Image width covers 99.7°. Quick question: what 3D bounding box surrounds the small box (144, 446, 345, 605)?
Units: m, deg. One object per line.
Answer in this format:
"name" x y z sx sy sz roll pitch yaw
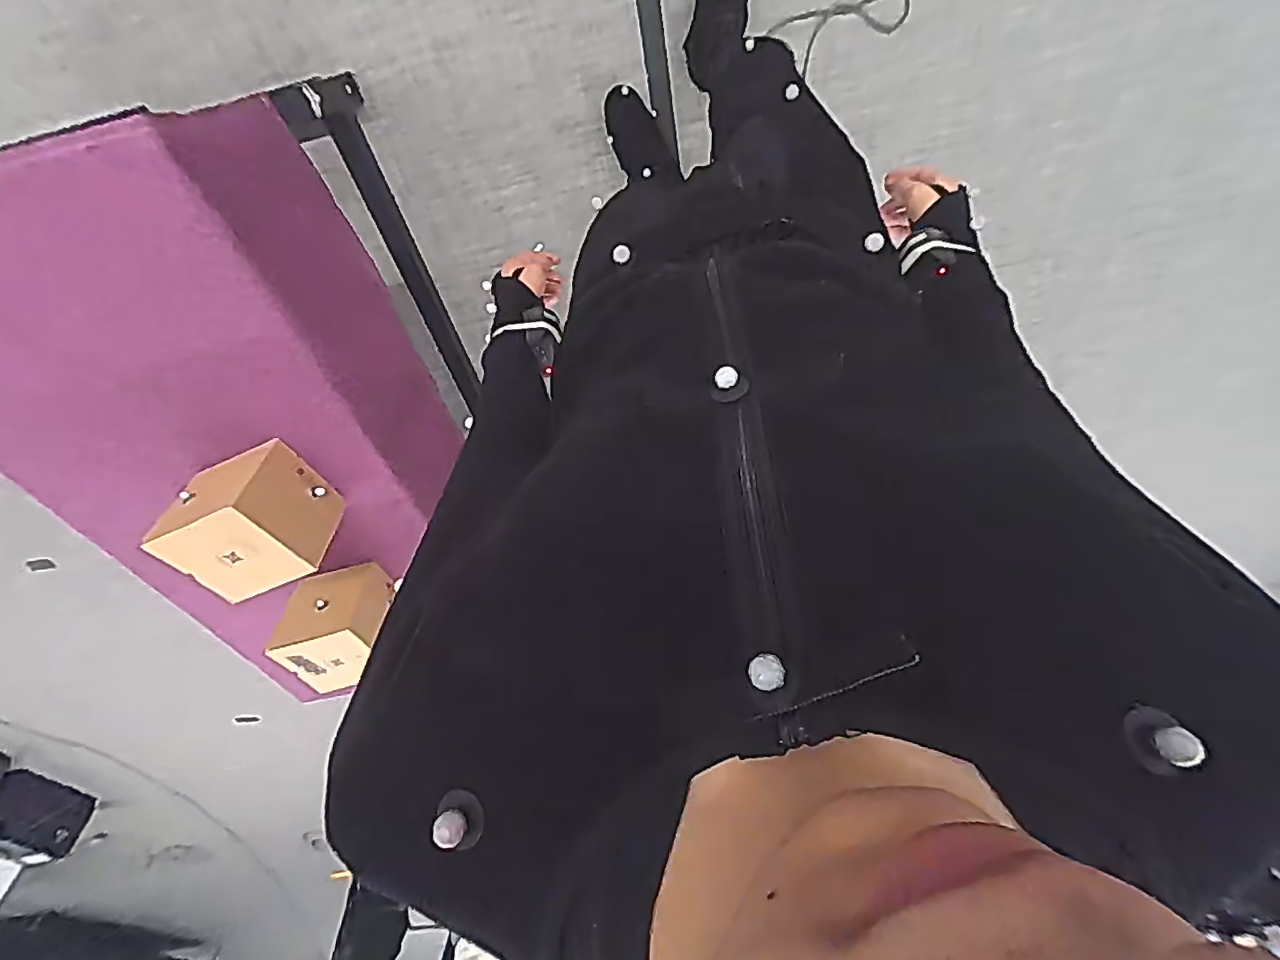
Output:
"small box" -0.634 0.074 0.895 0.179 0.176 0.168 -20 130 12

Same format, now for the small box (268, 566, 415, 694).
"small box" -0.589 0.302 1.095 0.179 0.176 0.168 -15 131 7
